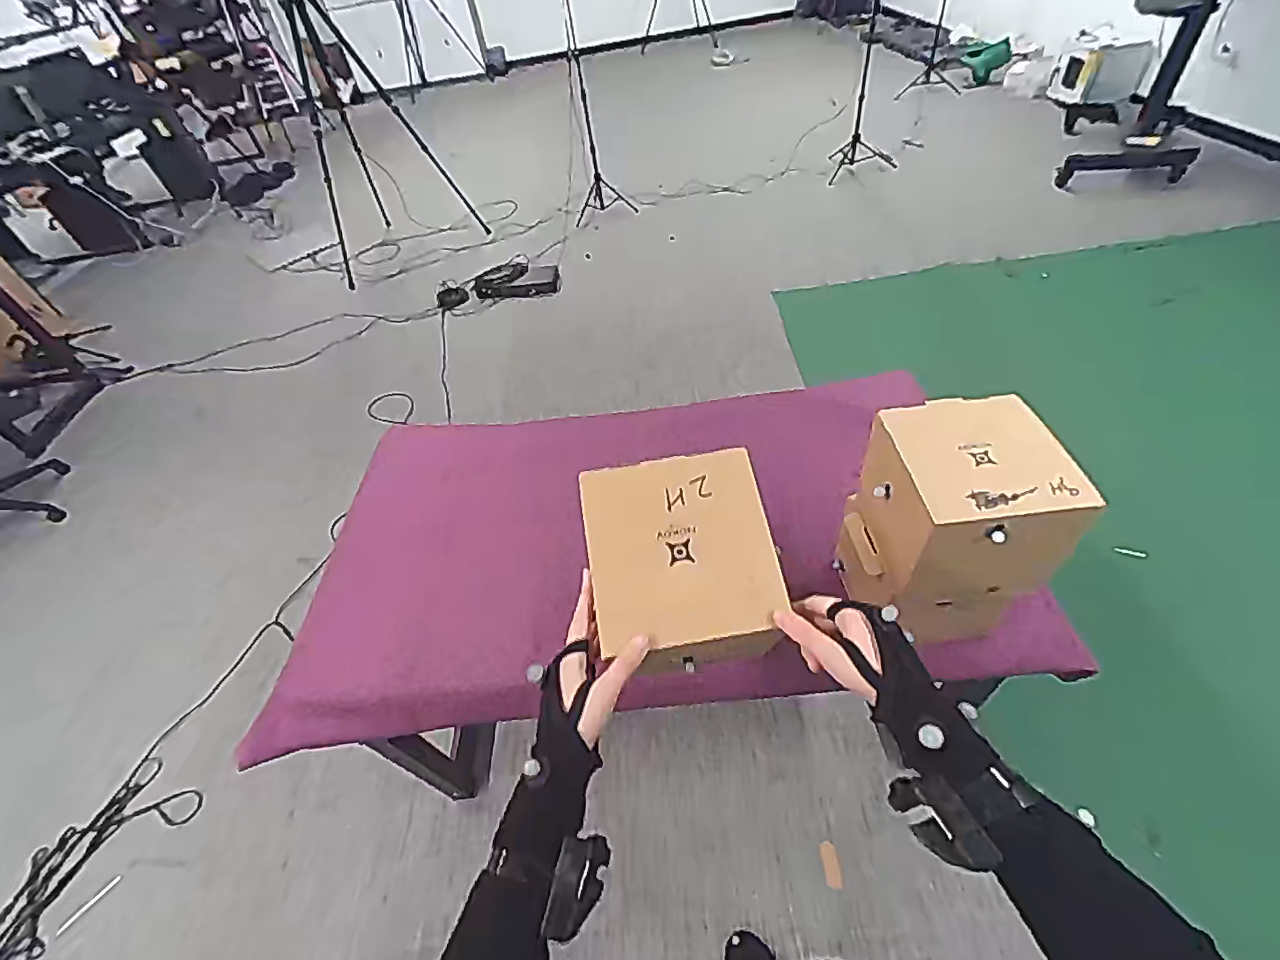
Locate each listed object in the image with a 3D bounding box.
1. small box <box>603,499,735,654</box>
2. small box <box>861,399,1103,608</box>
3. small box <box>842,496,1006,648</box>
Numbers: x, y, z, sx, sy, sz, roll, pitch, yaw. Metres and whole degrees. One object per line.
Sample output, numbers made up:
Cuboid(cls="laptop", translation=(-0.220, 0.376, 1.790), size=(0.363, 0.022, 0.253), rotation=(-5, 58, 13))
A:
Cuboid(cls="small box", translation=(0.047, 0.151, 0.823), size=(0.179, 0.176, 0.168), rotation=(-6, 46, 4))
Cuboid(cls="small box", translation=(0.380, 0.029, 0.648), size=(0.168, 0.176, 0.179), rotation=(-8, 46, 5))
Cuboid(cls="small box", translation=(0.404, 0.126, 0.779), size=(0.179, 0.176, 0.168), rotation=(-9, 47, 2))
